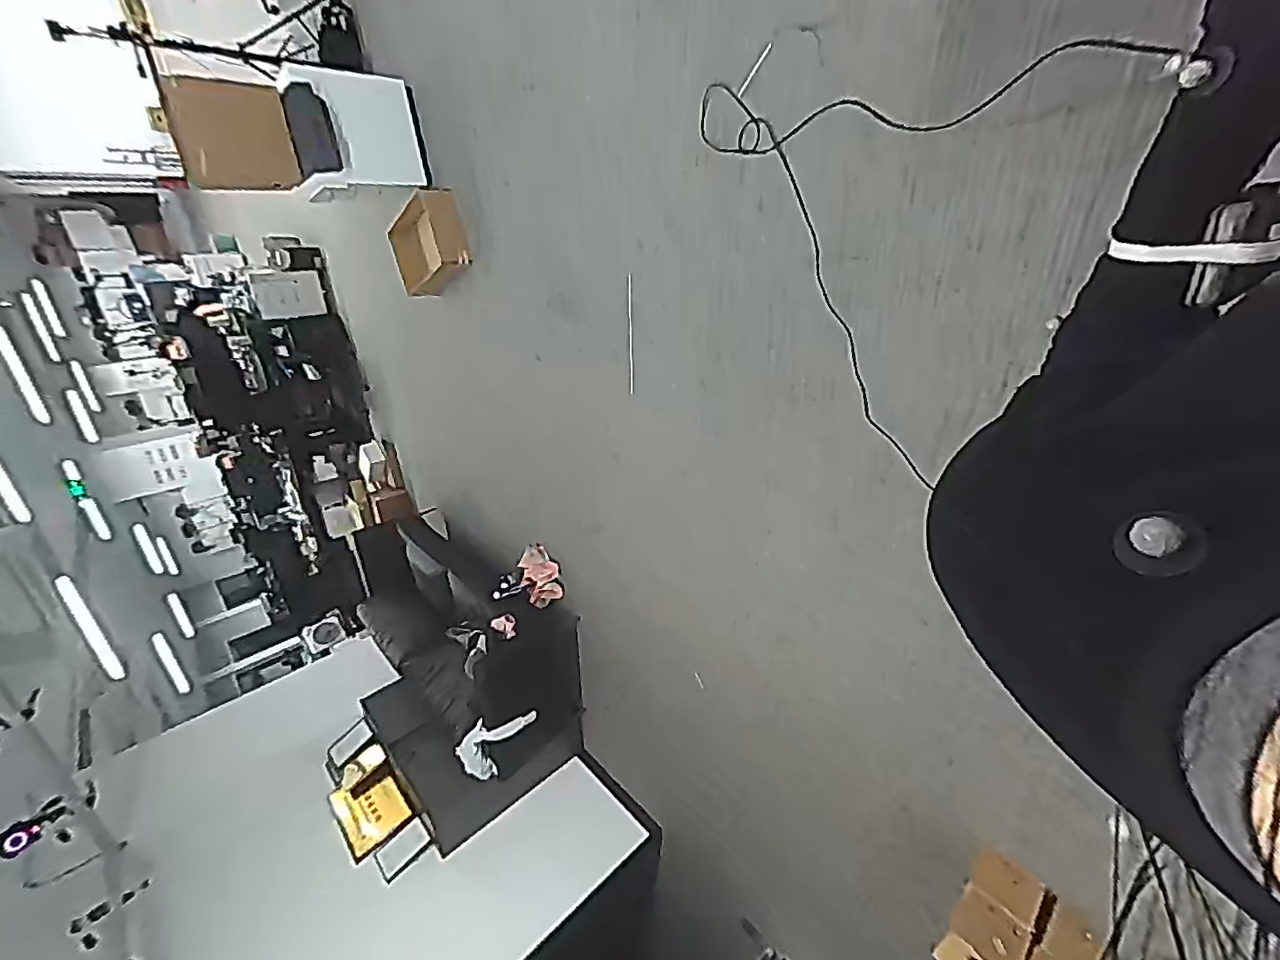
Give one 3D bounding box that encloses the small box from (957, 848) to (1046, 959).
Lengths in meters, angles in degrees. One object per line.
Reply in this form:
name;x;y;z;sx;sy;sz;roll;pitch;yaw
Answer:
small box;1.119;1.301;1.670;0.168;0.176;0.179;26;125;41
